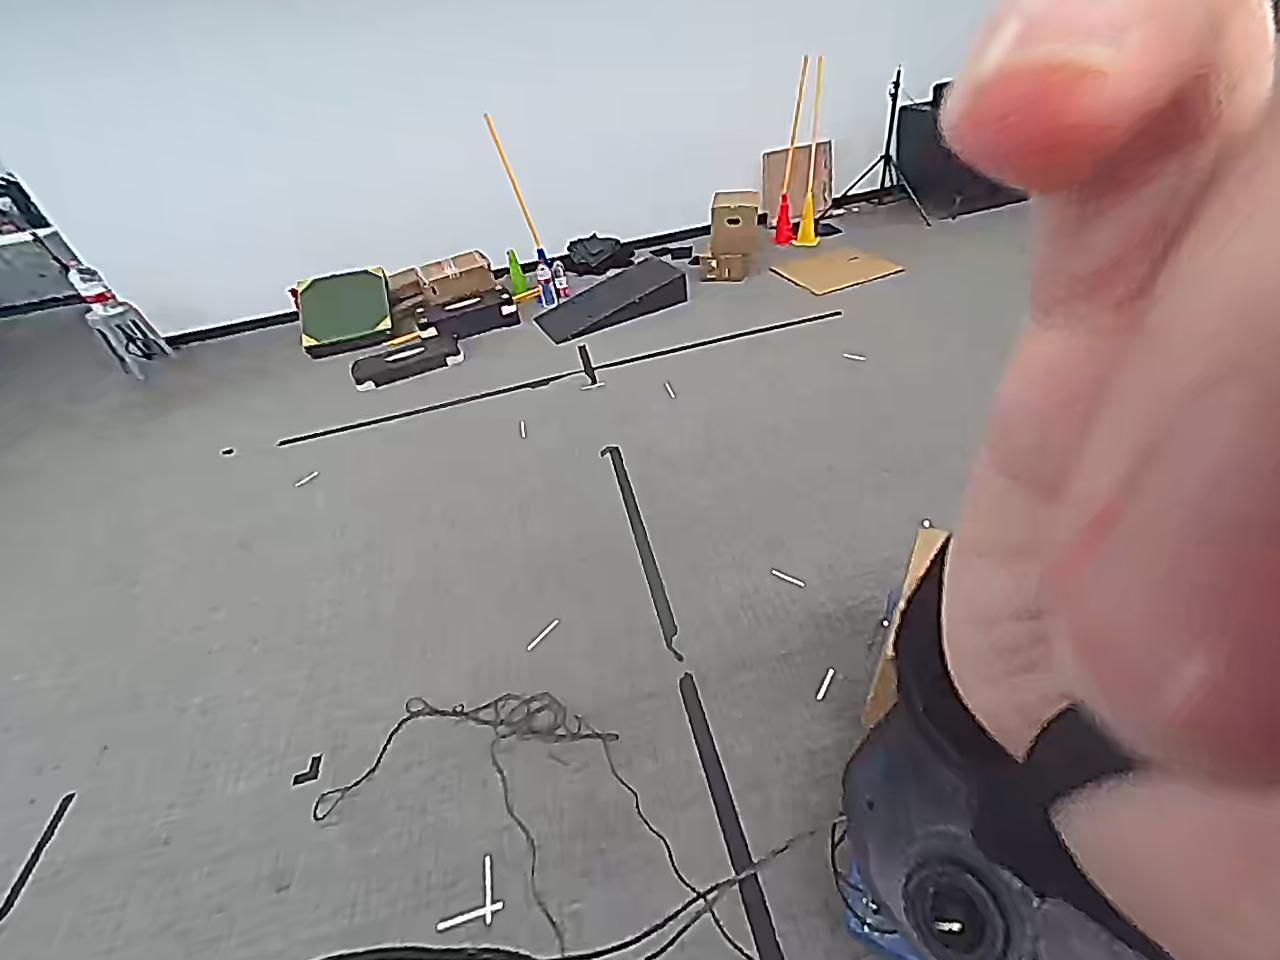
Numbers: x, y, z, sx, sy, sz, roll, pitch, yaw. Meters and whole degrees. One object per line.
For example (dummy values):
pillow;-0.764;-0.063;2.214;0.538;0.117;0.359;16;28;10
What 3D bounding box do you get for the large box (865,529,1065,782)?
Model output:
large box;0.742;0.391;1.256;0.320;0.320;0.408;17;46;26
